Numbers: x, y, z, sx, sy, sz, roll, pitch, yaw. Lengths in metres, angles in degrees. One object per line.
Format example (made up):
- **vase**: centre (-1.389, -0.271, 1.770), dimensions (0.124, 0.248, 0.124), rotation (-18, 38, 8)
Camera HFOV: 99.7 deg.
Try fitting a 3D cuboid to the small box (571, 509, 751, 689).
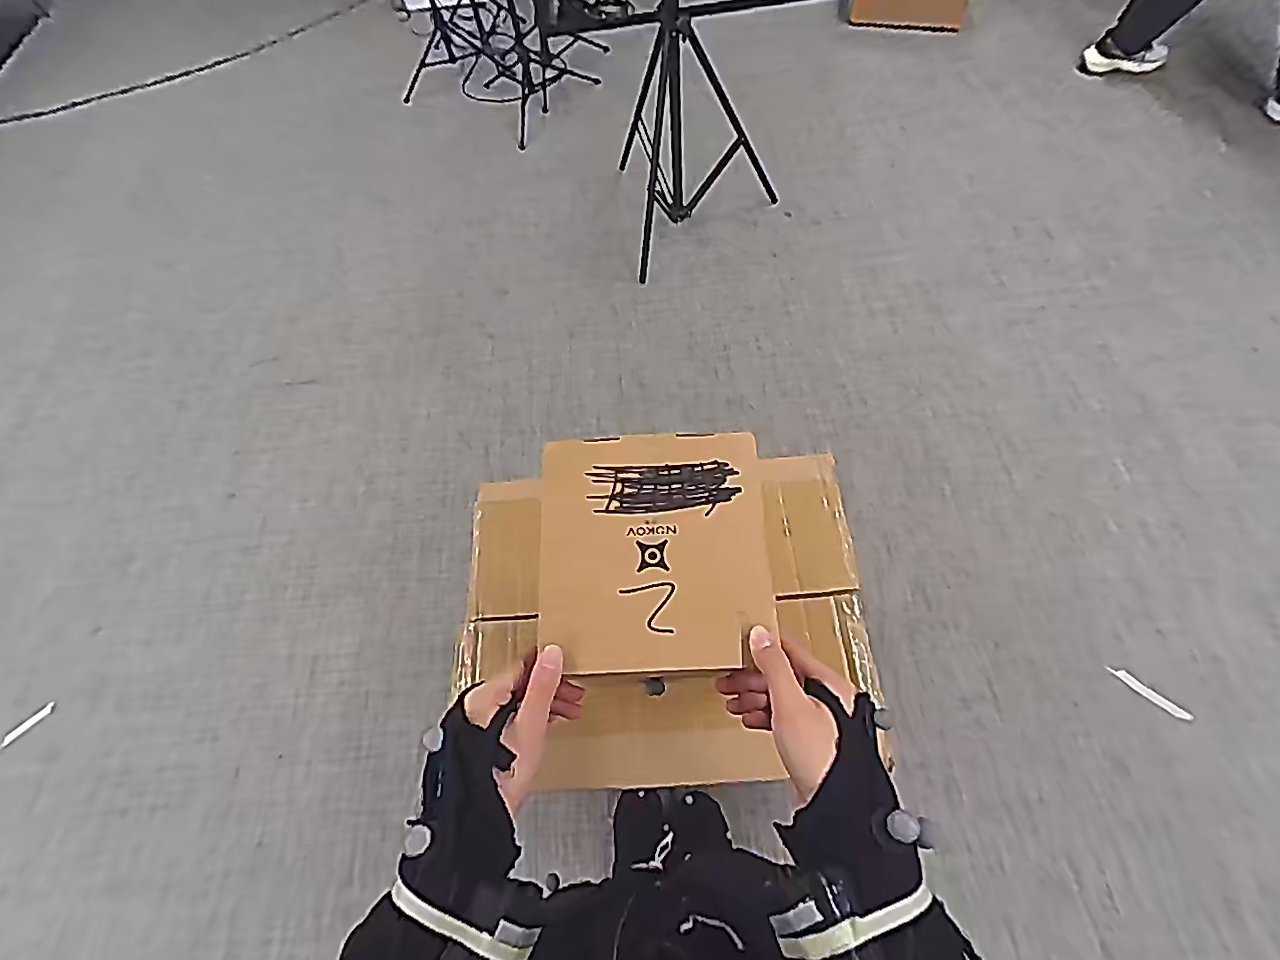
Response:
- **small box**: centre (0.025, 0.144, 0.622), dimensions (0.179, 0.176, 0.168), rotation (-4, 64, 3)
